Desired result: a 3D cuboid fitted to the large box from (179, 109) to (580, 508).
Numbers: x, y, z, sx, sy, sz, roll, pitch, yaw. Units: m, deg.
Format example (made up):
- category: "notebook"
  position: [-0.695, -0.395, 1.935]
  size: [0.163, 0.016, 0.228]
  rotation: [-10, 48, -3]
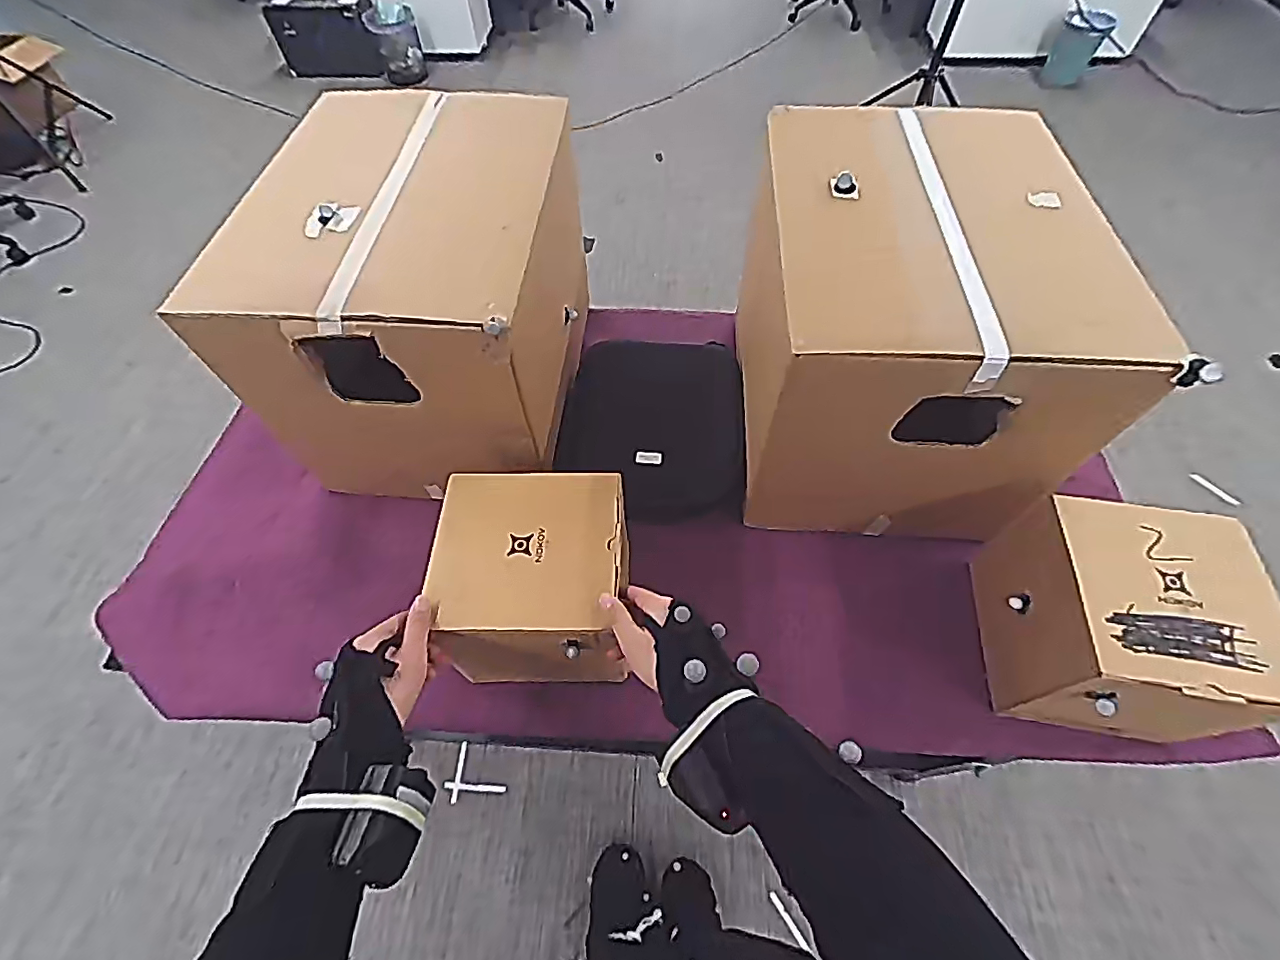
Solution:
- category: "large box"
  position: [-0.257, -0.213, 0.707]
  size: [0.320, 0.320, 0.408]
  rotation: [2, 60, 2]
